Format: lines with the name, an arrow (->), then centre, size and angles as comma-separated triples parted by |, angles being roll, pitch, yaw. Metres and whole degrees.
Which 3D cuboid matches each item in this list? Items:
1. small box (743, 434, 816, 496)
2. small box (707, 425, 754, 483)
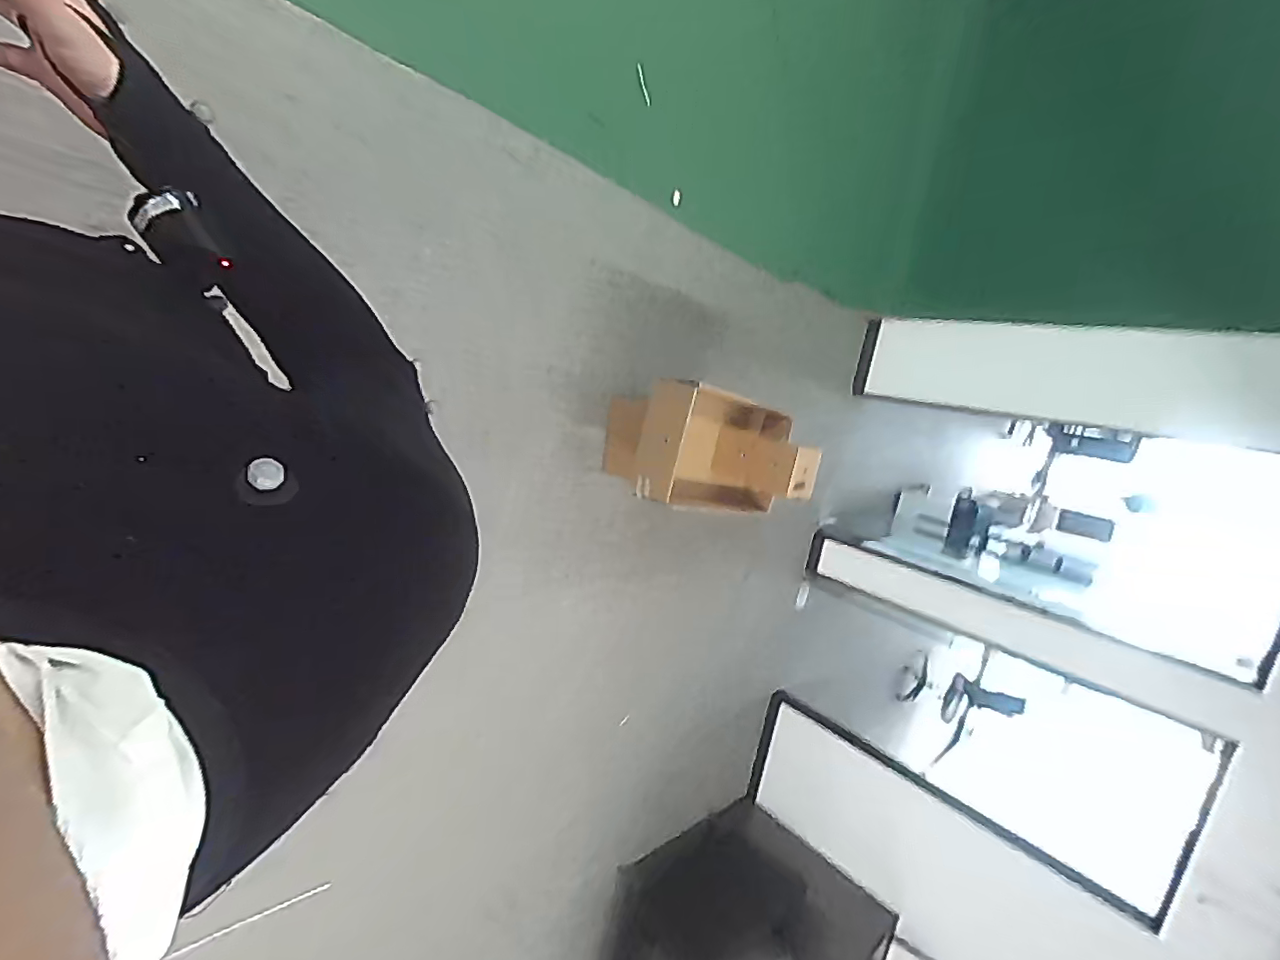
small box -> 0.479, -0.051, 1.880 | 0.168, 0.176, 0.179 | 4, 101, -45
small box -> 0.369, -0.093, 1.996 | 0.168, 0.176, 0.179 | 6, 100, -46
